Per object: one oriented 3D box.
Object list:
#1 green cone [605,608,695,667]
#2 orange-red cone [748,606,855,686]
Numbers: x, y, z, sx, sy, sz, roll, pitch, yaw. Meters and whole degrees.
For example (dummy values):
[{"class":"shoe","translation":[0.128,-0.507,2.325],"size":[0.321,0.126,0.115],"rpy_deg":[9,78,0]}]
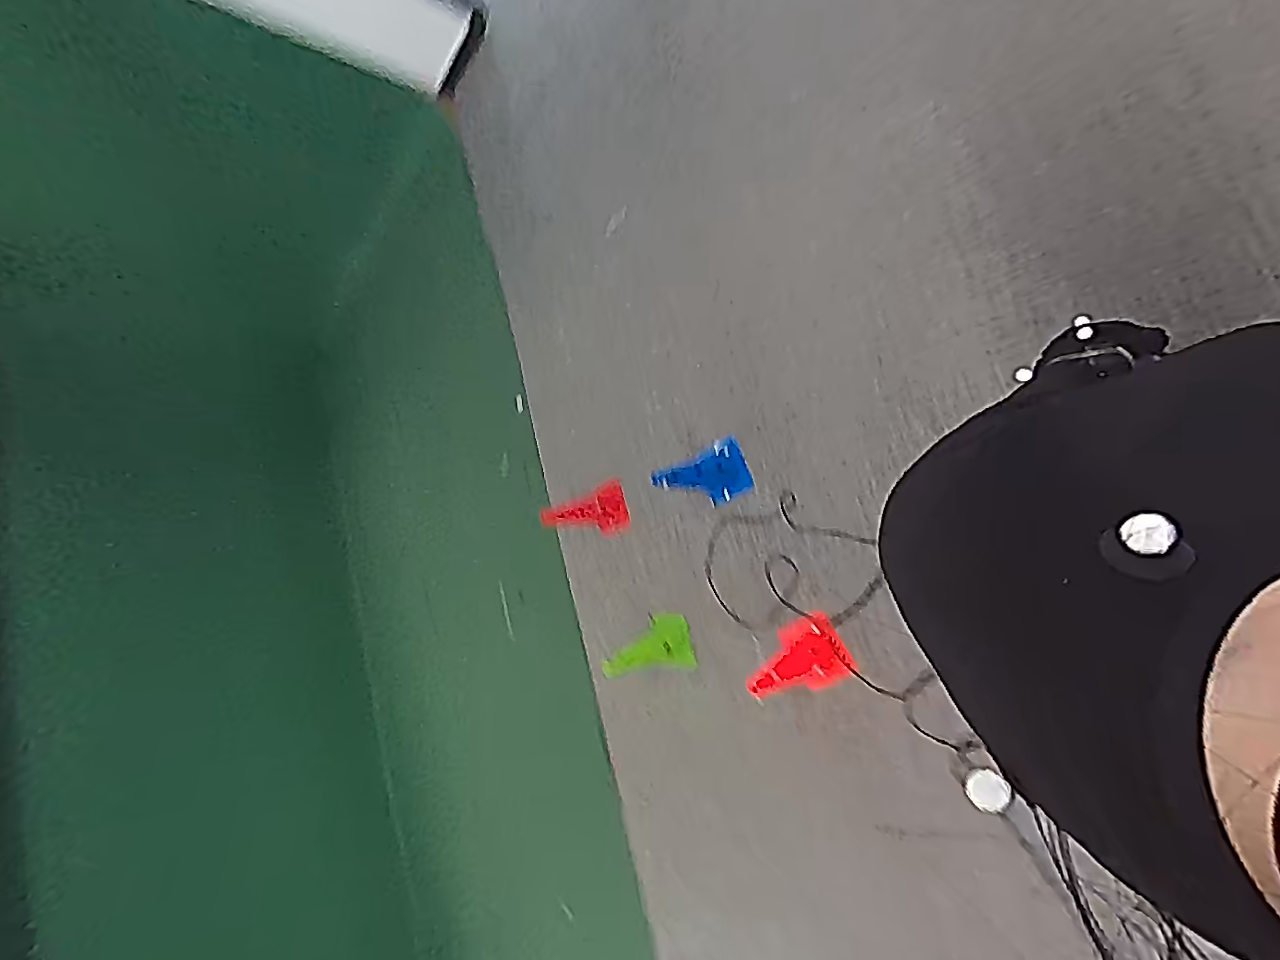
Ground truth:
[{"class":"green cone","translation":[0.010,0.630,2.033],"size":[0.202,0.368,0.200],"rpy_deg":[-18,83,44]},{"class":"orange-red cone","translation":[0.437,0.532,1.592],"size":[0.199,0.360,0.198],"rpy_deg":[-46,62,40]}]
